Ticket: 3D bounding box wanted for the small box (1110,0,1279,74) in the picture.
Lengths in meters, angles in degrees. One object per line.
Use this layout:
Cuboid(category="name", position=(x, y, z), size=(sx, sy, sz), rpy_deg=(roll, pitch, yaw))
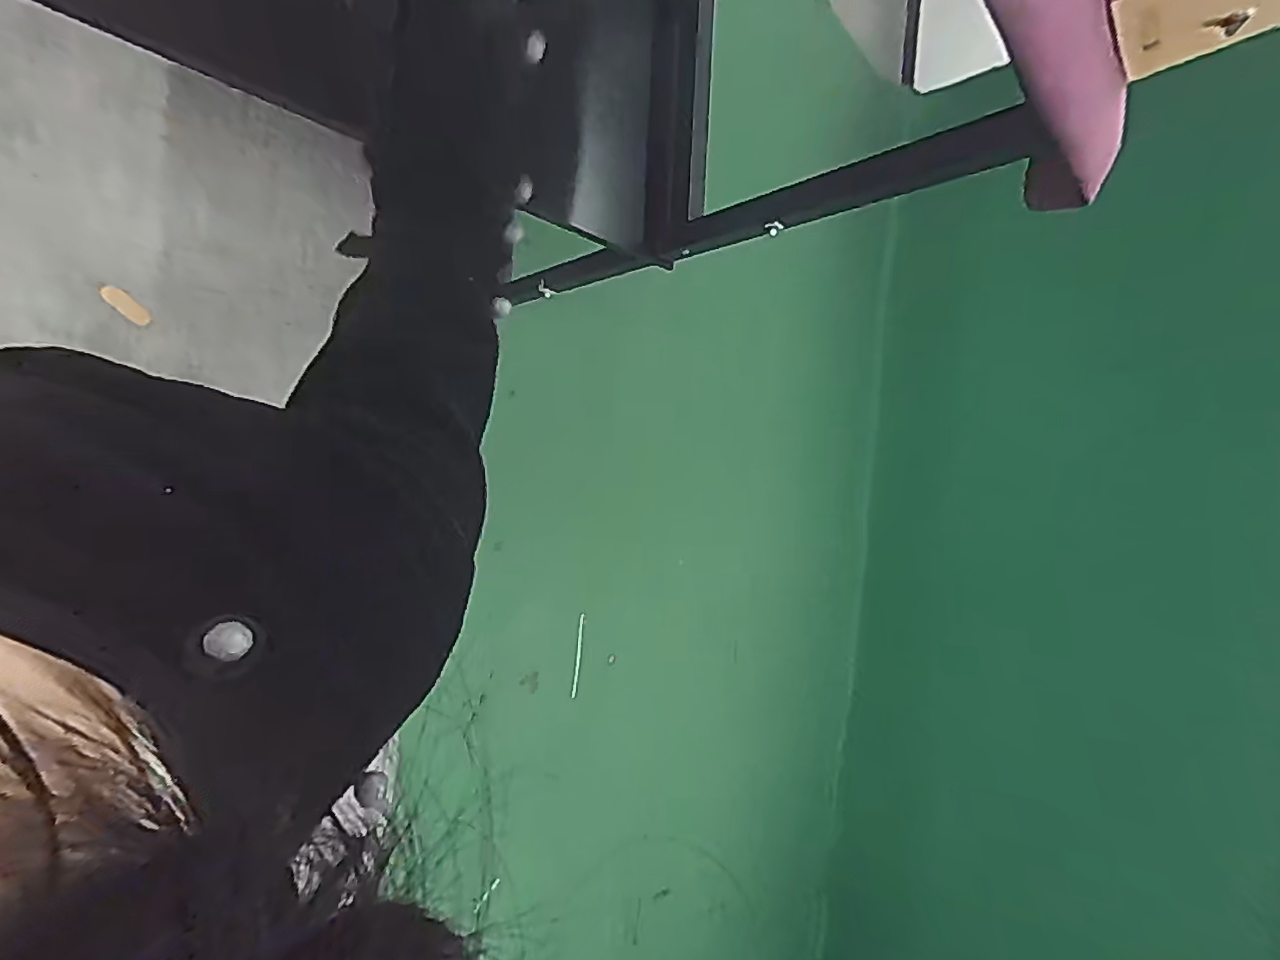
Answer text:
Cuboid(category="small box", position=(0.580, -0.560, 0.536), size=(0.168, 0.176, 0.179), rpy_deg=(0, 92, -45))
